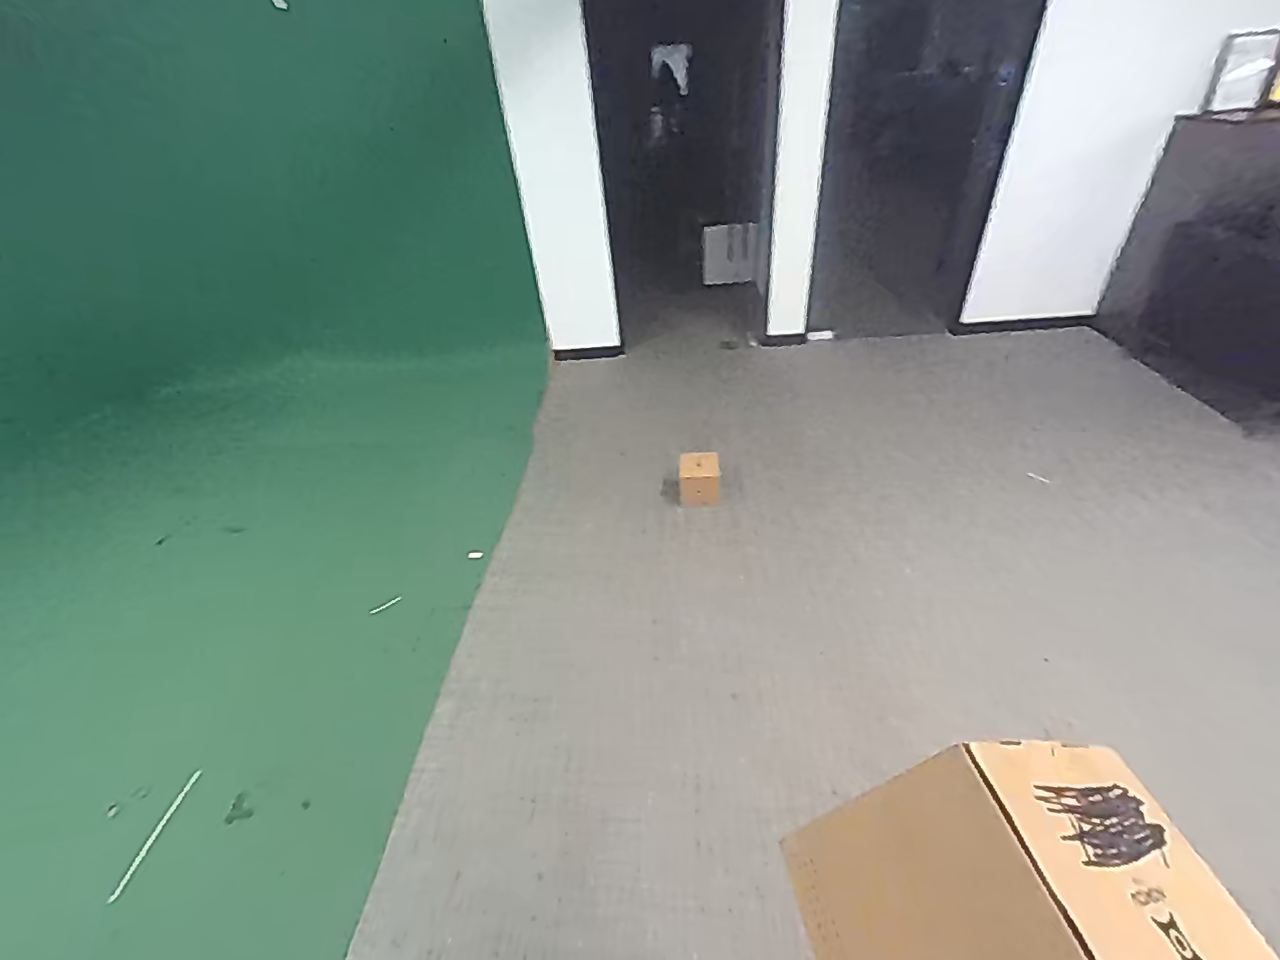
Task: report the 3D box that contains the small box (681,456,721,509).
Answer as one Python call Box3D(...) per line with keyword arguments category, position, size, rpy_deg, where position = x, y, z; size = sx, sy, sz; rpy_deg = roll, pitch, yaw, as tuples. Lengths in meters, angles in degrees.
Box3D(category="small box", position=(0.266, 0.016, 2.355), size=(0.168, 0.176, 0.179), rpy_deg=(-2, 38, 6))
